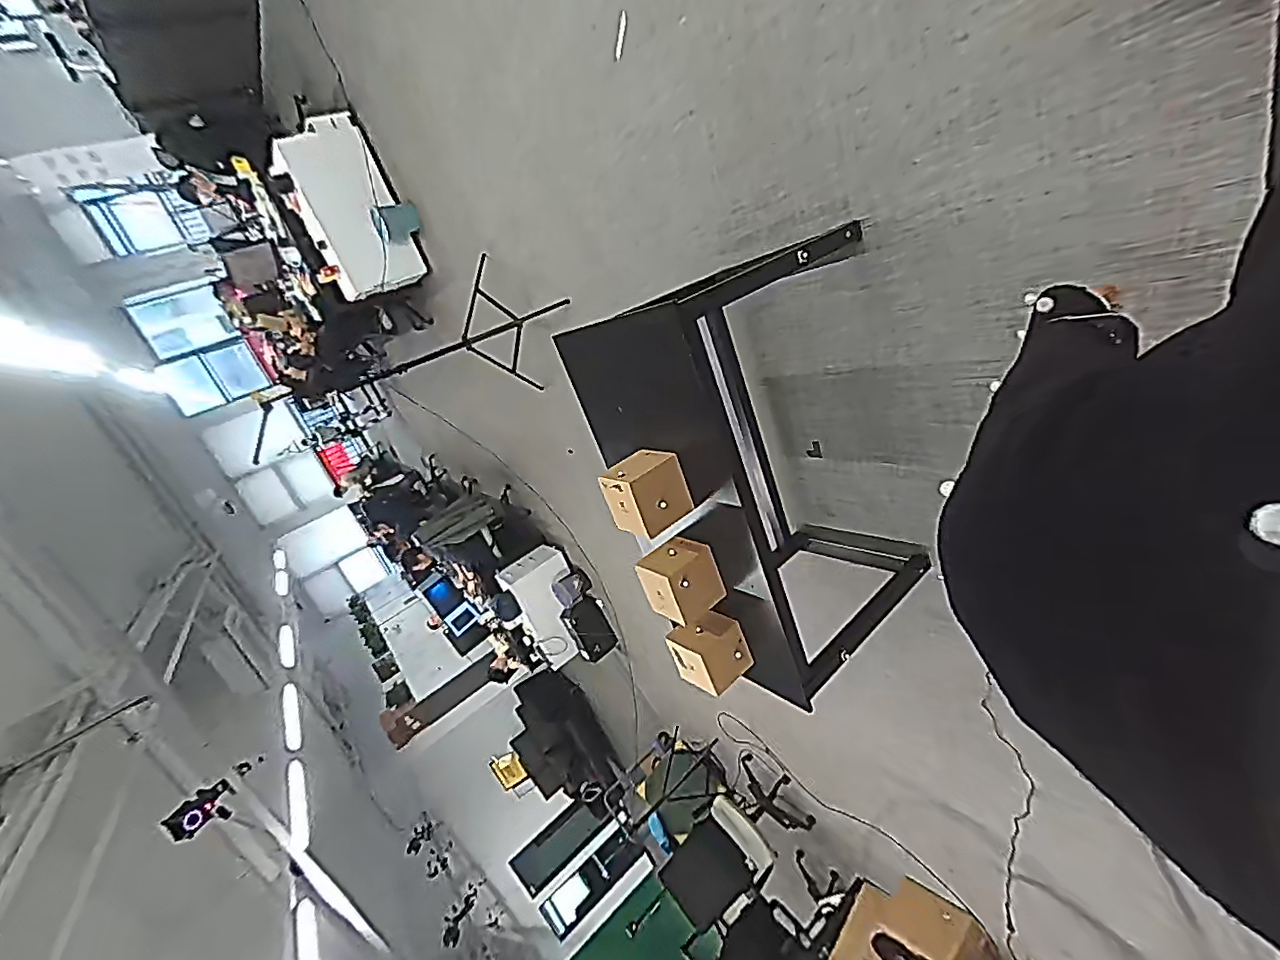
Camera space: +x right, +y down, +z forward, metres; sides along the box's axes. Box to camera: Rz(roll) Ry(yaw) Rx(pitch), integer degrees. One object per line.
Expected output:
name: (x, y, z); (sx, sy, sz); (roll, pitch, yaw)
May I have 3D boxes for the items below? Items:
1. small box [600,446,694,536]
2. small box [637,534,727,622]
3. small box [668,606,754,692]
small box: (0.024, 0.025, 1.496); (0.168, 0.176, 0.179); (12, 129, 55)
small box: (0.127, 0.281, 1.593); (0.168, 0.176, 0.179); (10, 127, 56)
small box: (0.222, 0.514, 1.682); (0.179, 0.176, 0.168); (6, 124, 56)
